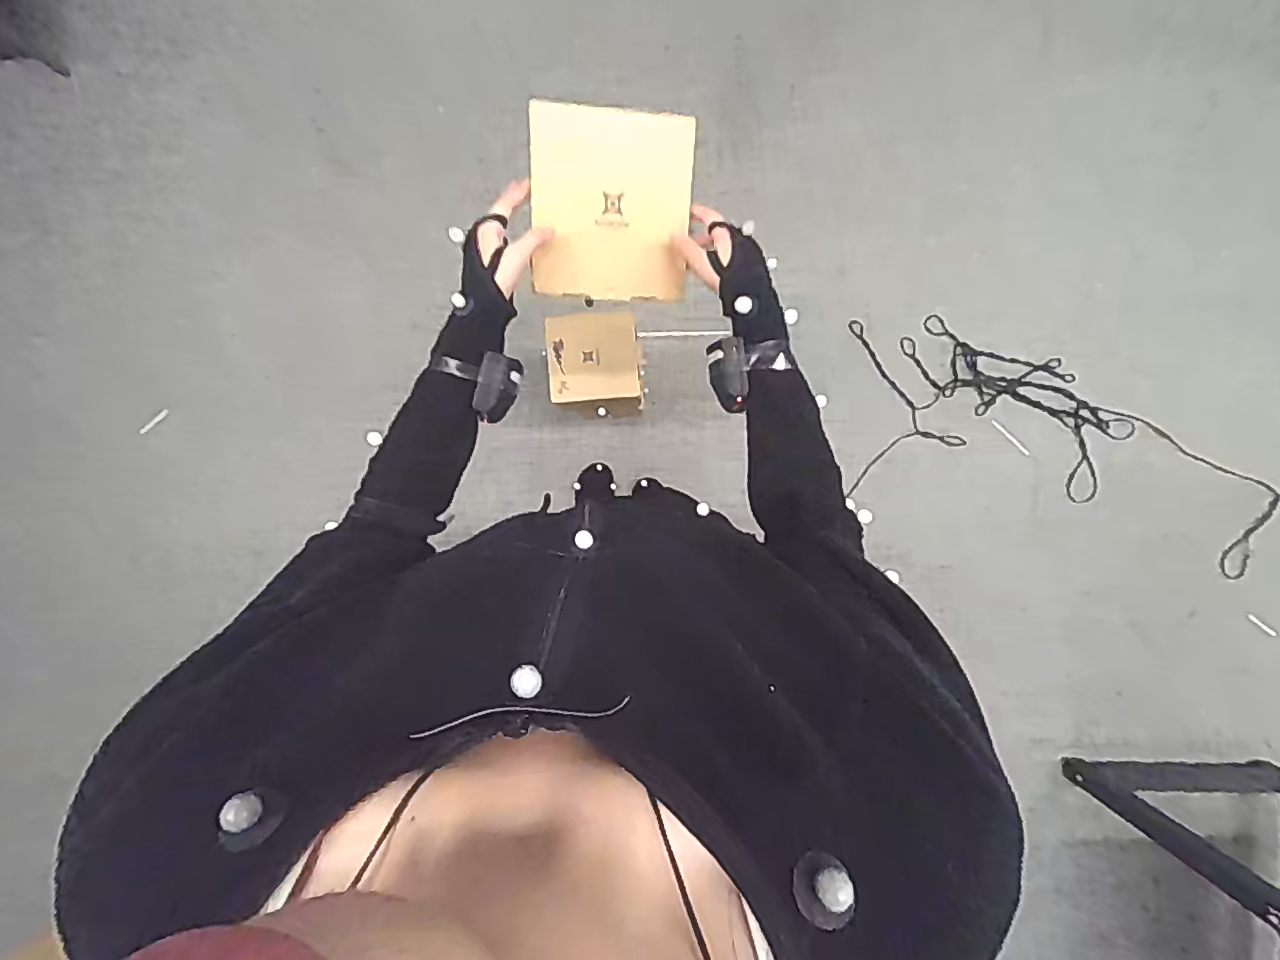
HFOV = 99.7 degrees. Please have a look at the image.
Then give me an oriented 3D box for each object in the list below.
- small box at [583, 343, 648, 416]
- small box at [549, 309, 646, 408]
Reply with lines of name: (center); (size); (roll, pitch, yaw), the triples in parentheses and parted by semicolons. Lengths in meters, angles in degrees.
small box: (-0.069, -0.260, 1.429); (0.179, 0.176, 0.168); (-2, 91, 1)
small box: (-0.081, -0.240, 1.102); (0.179, 0.176, 0.168); (-4, 91, 1)
